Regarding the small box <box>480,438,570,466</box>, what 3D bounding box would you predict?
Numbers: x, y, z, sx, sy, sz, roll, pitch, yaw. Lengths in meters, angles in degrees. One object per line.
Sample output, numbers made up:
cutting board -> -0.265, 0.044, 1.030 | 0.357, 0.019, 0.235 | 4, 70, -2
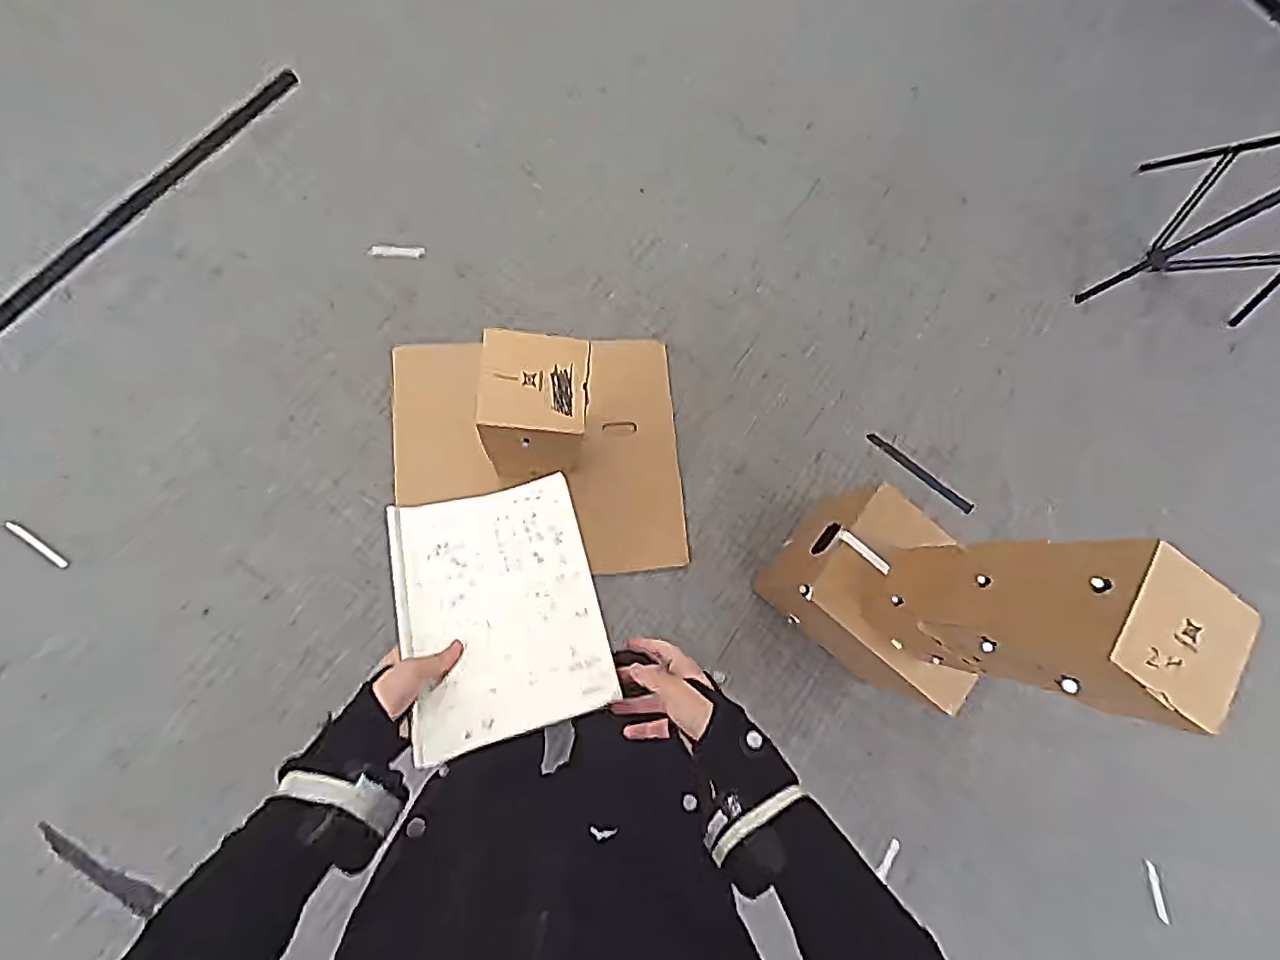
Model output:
small box -> -0.226, -0.125, 1.110 | 0.179, 0.176, 0.168 | 2, 80, -11

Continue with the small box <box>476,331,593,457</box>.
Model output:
small box -> -0.184, -0.140, 0.951 | 0.179, 0.176, 0.168 | 5, 79, -10

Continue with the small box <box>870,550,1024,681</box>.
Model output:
small box -> 0.578, 0.253, 1.041 | 0.168, 0.176, 0.179 | 35, 76, -3

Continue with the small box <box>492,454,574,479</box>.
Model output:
small box -> -0.252, -0.098, 1.269 | 0.179, 0.176, 0.168 | 1, 80, -12

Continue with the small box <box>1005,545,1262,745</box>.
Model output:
small box -> 0.641, 0.206, 0.721 | 0.168, 0.176, 0.179 | 37, 77, -2
